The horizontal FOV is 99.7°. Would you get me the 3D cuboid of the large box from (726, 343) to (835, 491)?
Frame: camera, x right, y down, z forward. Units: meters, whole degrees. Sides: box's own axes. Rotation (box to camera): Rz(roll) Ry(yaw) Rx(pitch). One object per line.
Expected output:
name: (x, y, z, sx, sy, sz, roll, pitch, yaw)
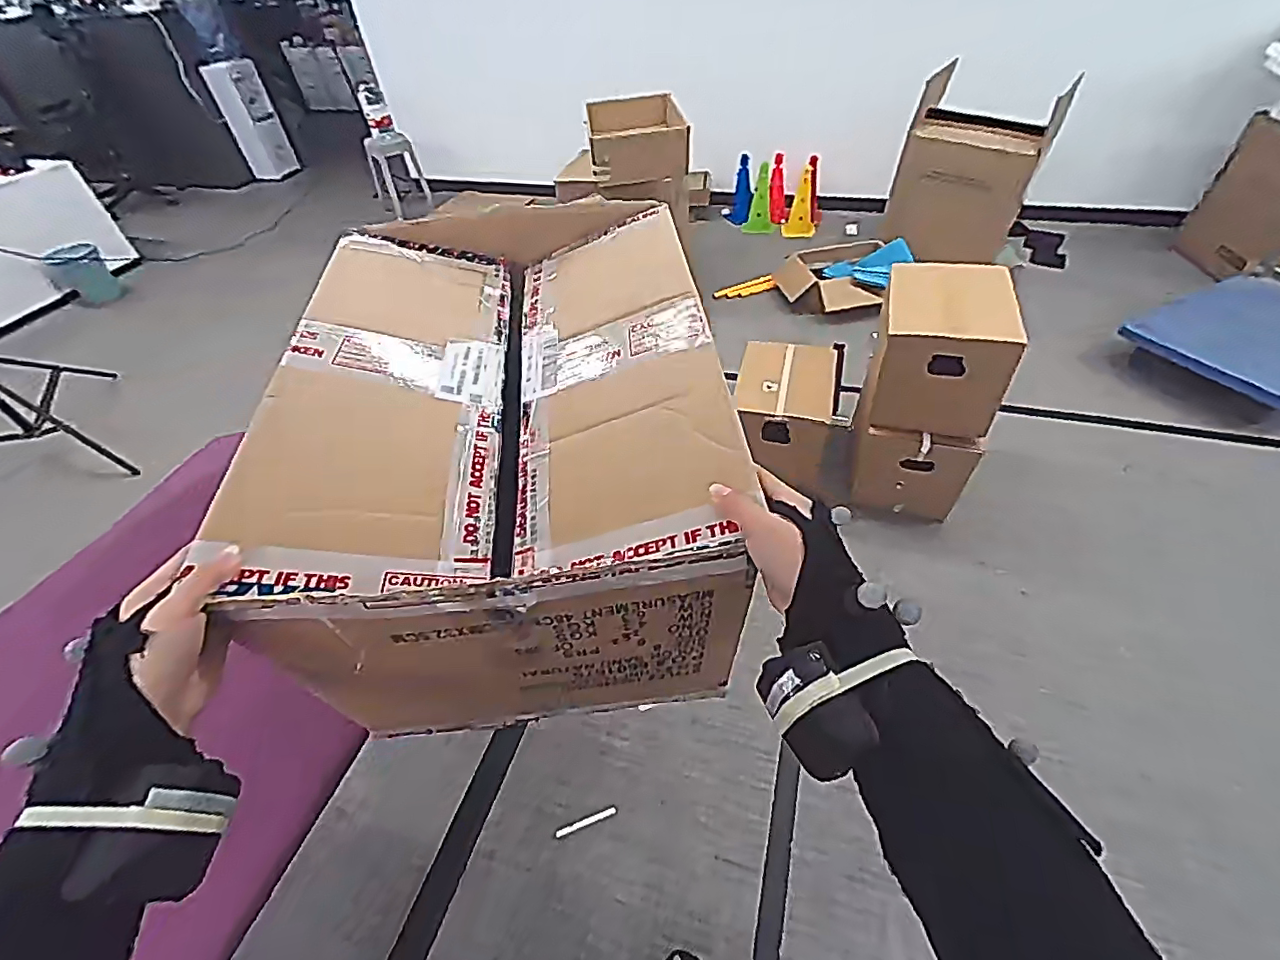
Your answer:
large box: (0.488, -0.225, 1.887, 0.320, 0.320, 0.408, 9, 48, 14)
